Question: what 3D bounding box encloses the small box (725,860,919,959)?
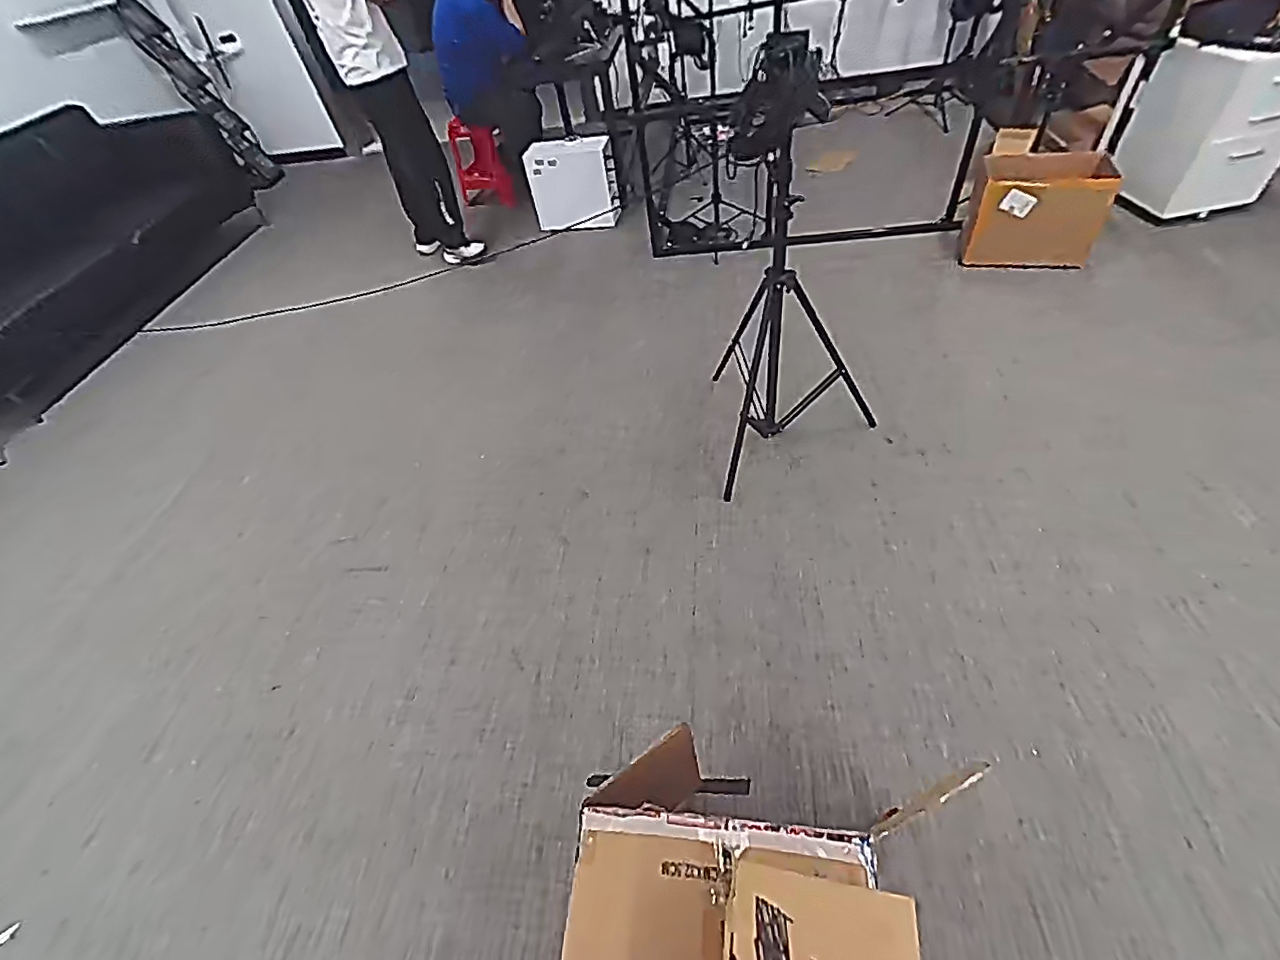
[{"bbox_3d":[0.175,0.513,0.552,0.179,0.176,0.168,5,51,11],"label":"small box"}]
